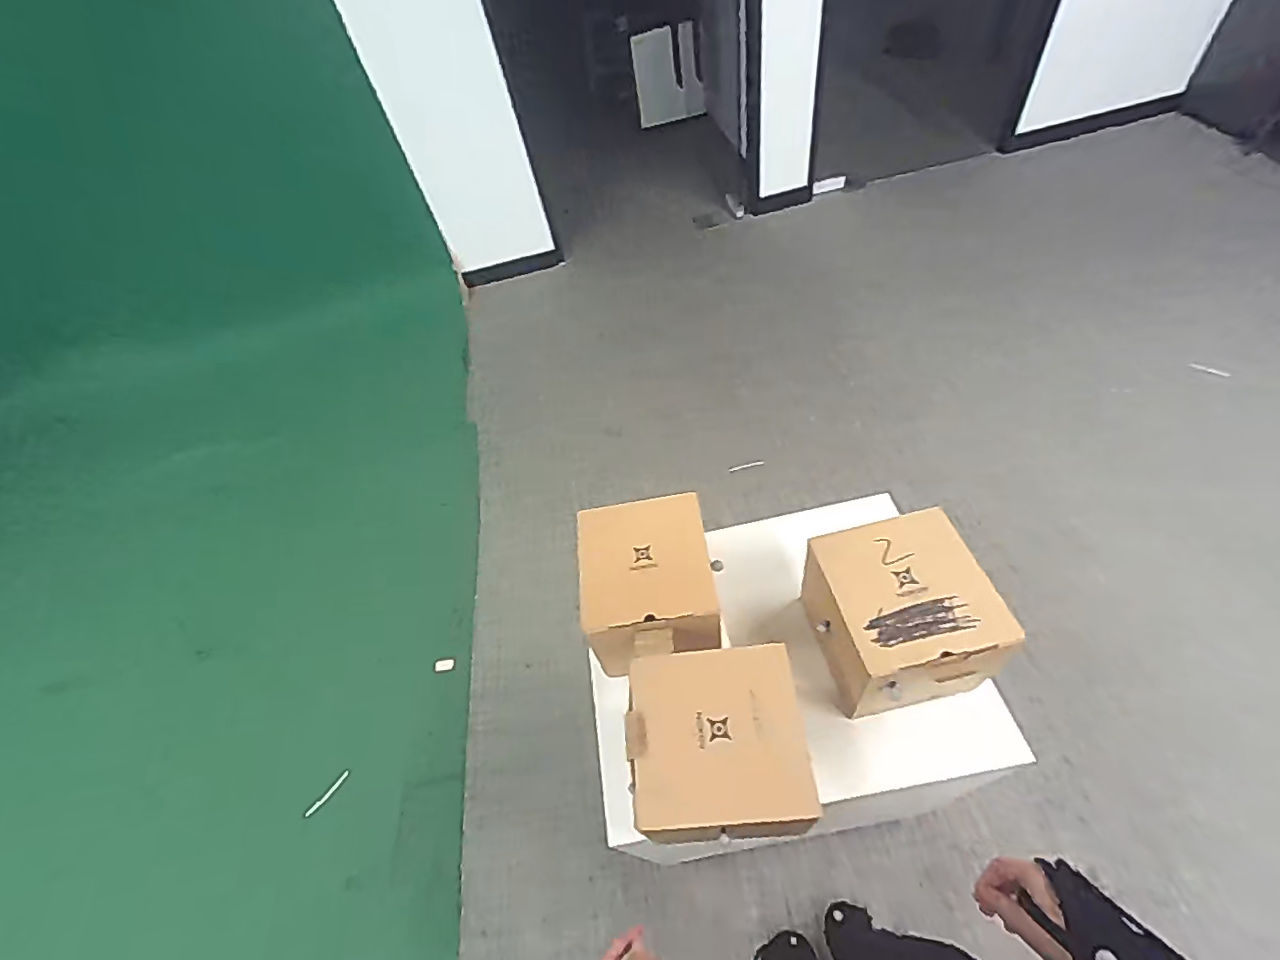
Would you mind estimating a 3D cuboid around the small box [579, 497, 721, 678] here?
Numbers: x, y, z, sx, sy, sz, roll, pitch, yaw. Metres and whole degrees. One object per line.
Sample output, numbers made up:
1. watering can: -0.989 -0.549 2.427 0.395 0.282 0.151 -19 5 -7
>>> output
1. small box: 0.013 0.150 0.740 0.168 0.176 0.179 -9 53 2
